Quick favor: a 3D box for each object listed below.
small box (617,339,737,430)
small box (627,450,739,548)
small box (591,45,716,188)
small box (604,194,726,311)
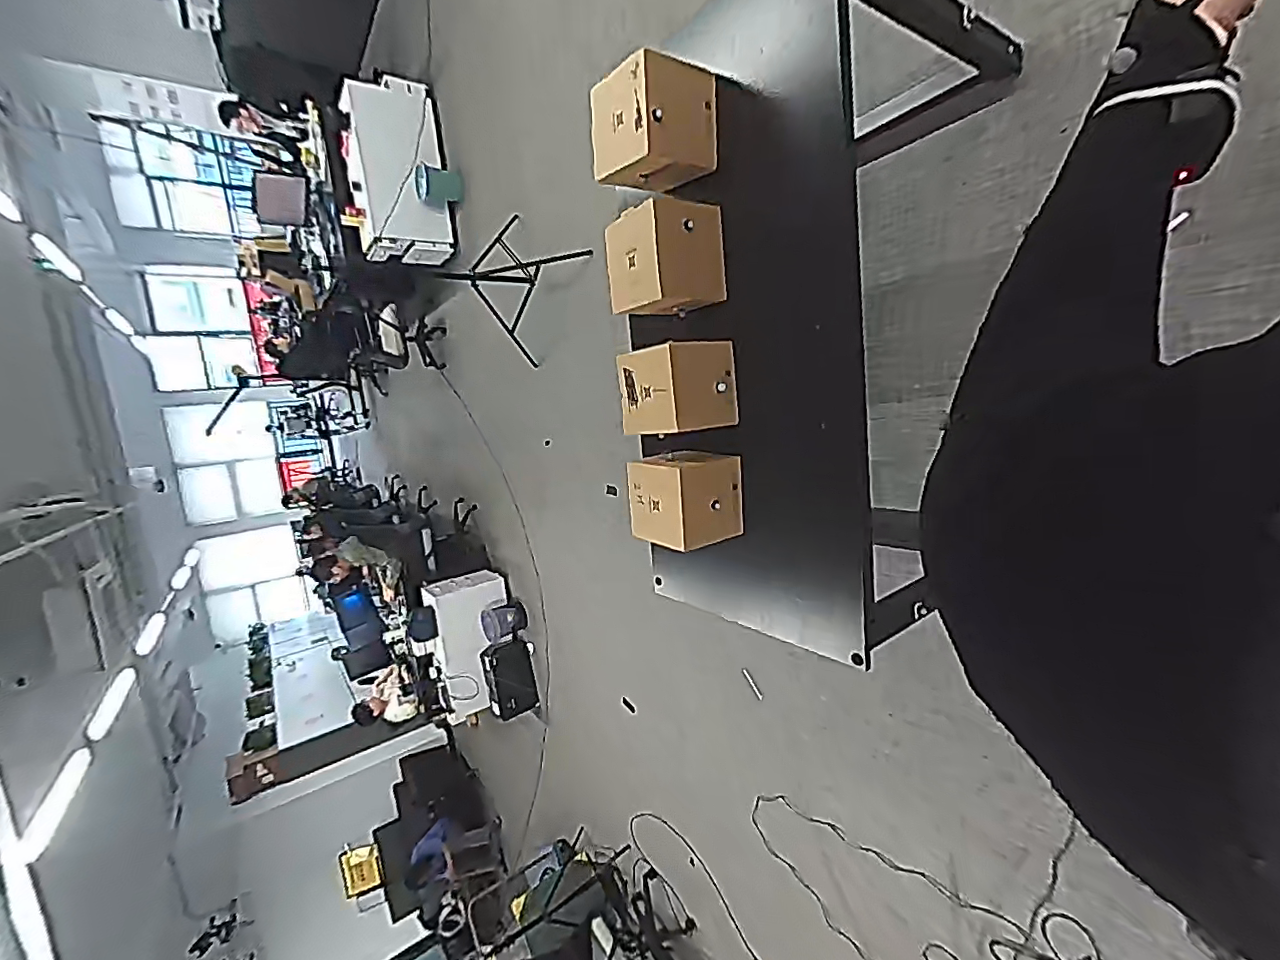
[{"bbox_3d":[0.074,-0.190,1.100,0.179,0.176,0.168,5,104,54],"label":"small box"},{"bbox_3d":[0.094,0.030,1.137,0.179,0.176,0.168,11,107,54],"label":"small box"},{"bbox_3d":[0.025,-0.672,1.027,0.179,0.176,0.168,15,112,53],"label":"small box"},{"bbox_3d":[0.051,-0.435,1.065,0.168,0.176,0.179,6,106,55],"label":"small box"}]
